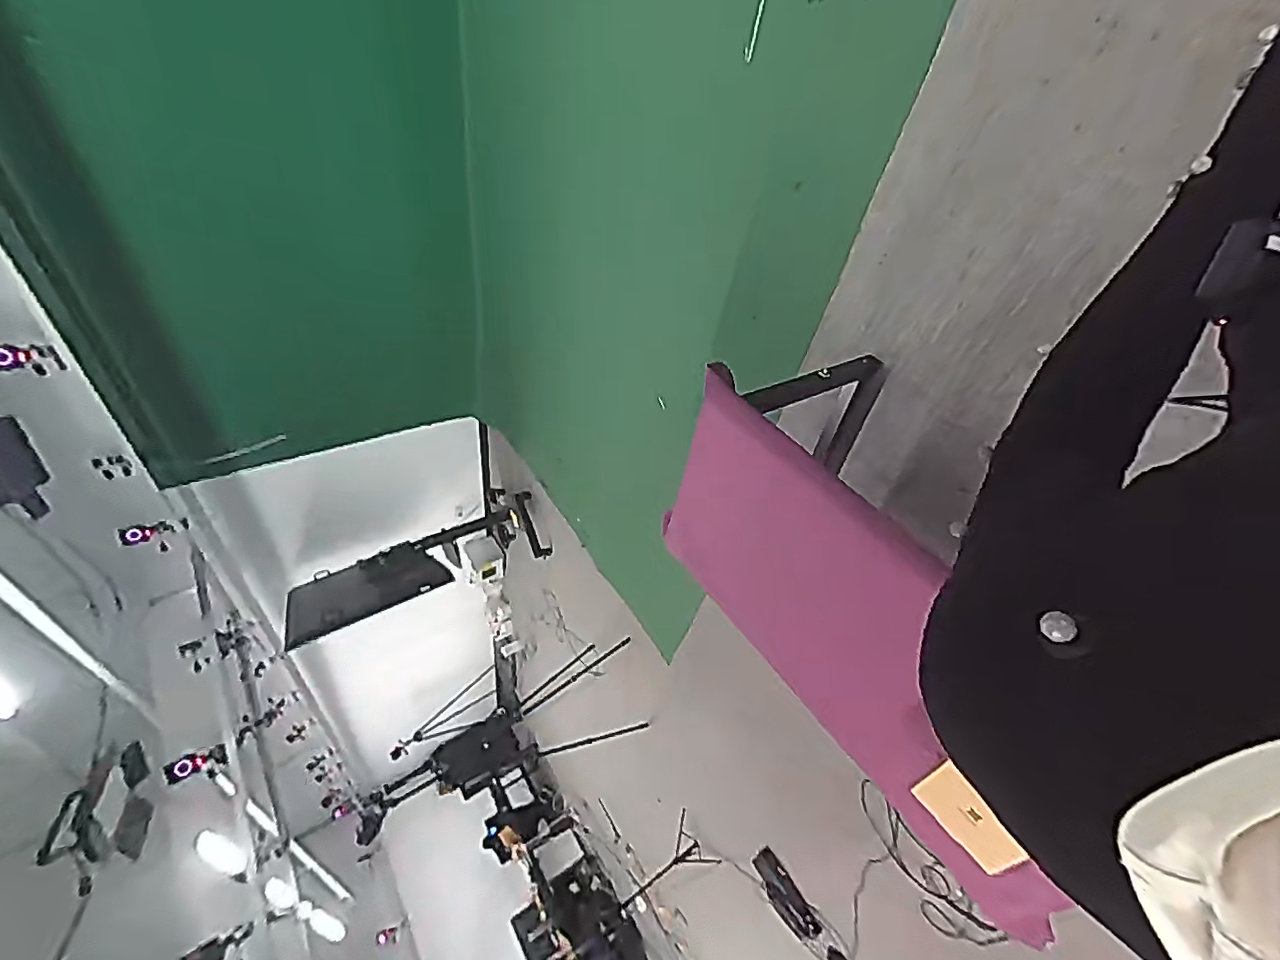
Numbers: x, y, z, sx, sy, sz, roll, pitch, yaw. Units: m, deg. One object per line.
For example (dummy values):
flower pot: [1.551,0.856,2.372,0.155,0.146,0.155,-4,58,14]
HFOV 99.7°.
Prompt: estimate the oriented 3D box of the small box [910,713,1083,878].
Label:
small box: [0.636,0.559,0.969,0.168,0.176,0.179,46,142,34]
